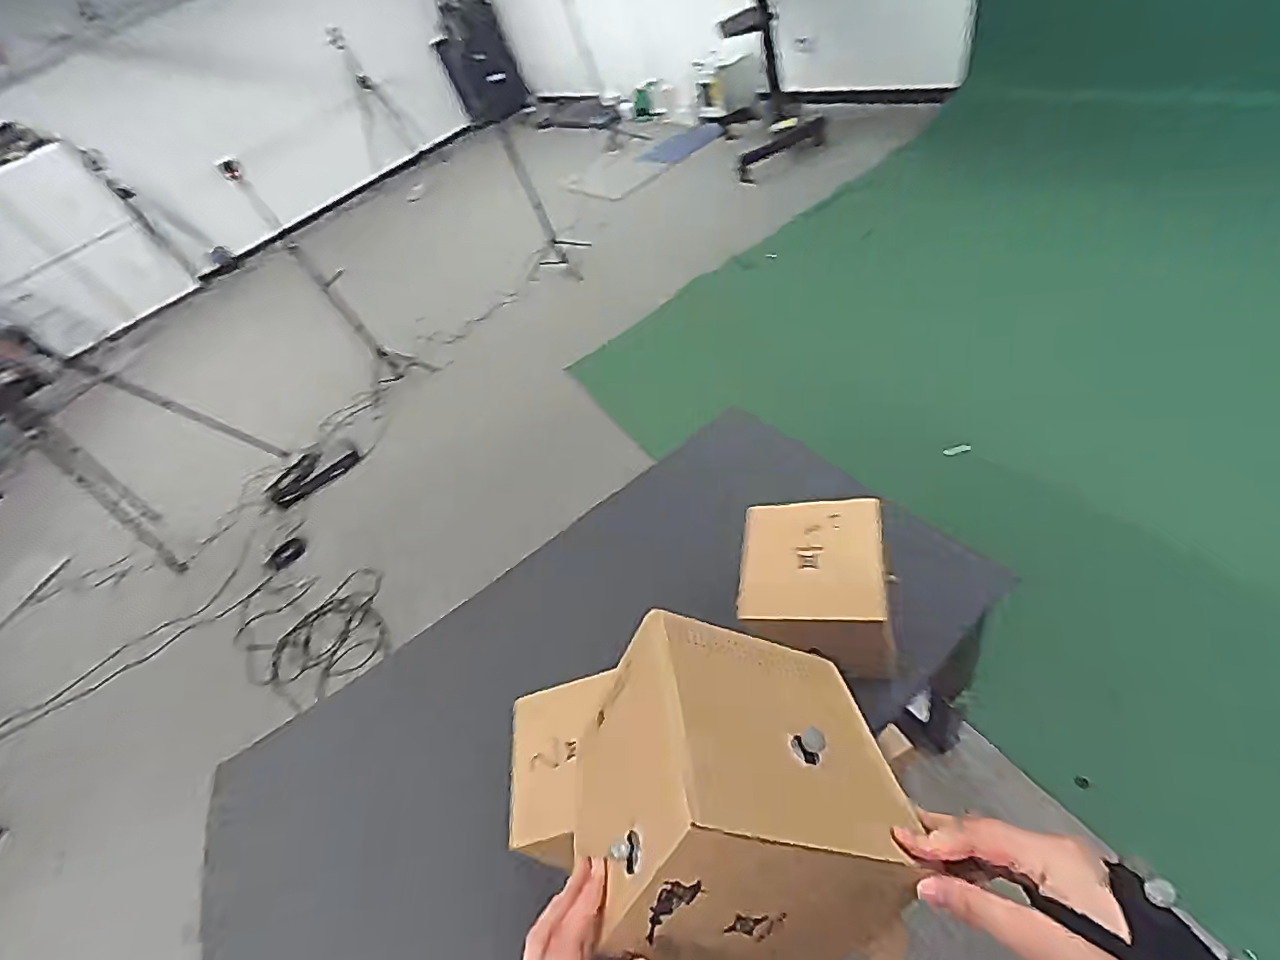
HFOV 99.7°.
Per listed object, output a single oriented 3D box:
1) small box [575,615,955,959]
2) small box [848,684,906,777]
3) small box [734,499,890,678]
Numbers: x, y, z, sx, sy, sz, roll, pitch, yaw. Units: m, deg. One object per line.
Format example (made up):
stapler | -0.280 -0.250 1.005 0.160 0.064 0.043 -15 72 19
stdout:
small box | 0.064 0.223 0.387 0.176 0.179 0.168 -101 35 -61
small box | 0.479 0.610 1.233 0.179 0.176 0.168 -32 45 -7
small box | 0.234 0.148 0.720 0.168 0.176 0.179 -6 48 24
